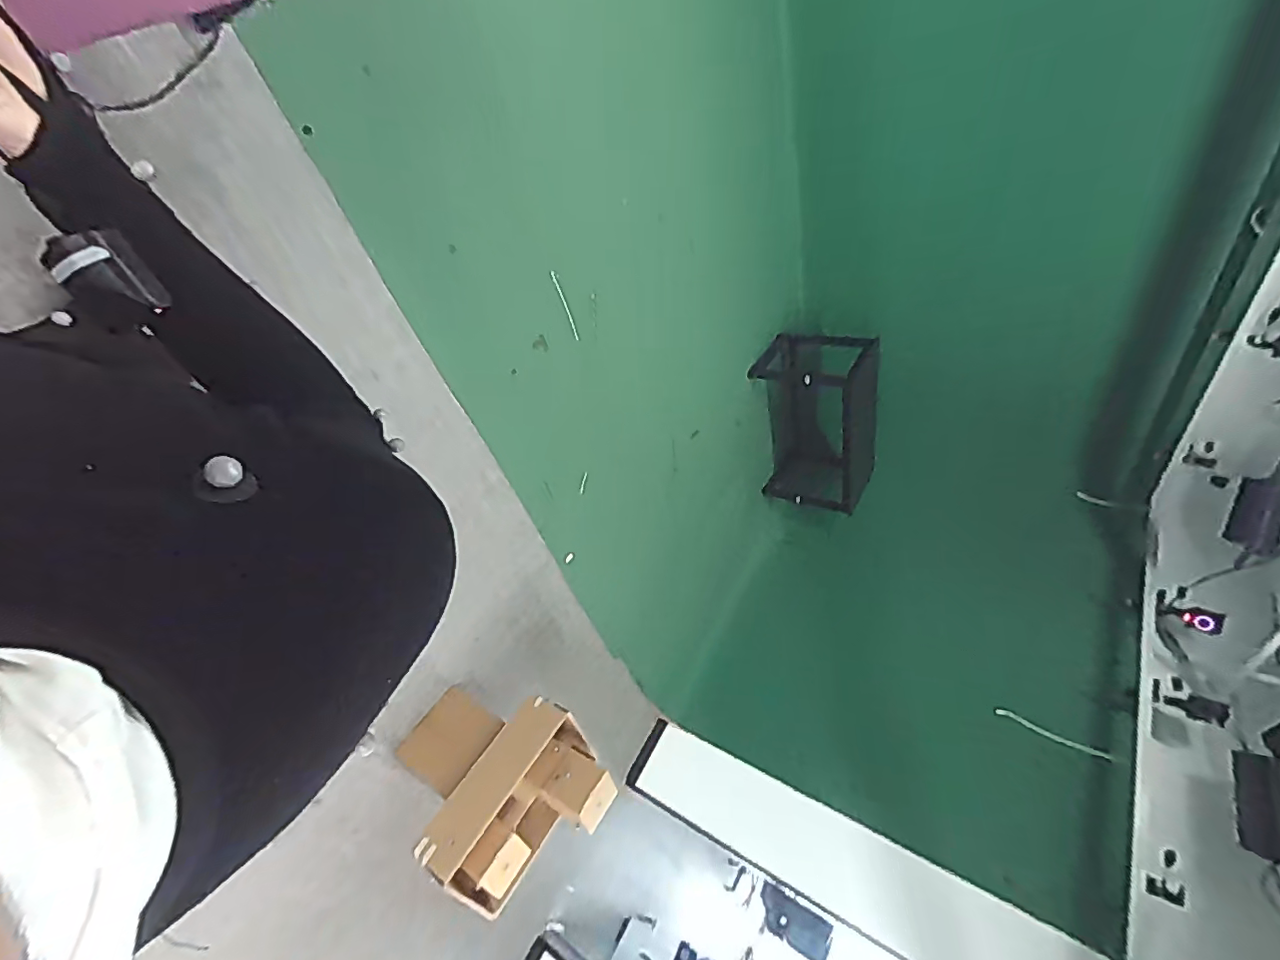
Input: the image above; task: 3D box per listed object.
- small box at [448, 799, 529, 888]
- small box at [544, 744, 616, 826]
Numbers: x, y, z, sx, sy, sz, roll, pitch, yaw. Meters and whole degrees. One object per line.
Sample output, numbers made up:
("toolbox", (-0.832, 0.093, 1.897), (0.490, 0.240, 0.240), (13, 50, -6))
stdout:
("small box", (-0.517, 1.238, 1.852), (0.168, 0.176, 0.179), (-47, 136, -34))
("small box", (-0.214, 1.080, 1.926), (0.168, 0.176, 0.179), (-46, 137, -36))
